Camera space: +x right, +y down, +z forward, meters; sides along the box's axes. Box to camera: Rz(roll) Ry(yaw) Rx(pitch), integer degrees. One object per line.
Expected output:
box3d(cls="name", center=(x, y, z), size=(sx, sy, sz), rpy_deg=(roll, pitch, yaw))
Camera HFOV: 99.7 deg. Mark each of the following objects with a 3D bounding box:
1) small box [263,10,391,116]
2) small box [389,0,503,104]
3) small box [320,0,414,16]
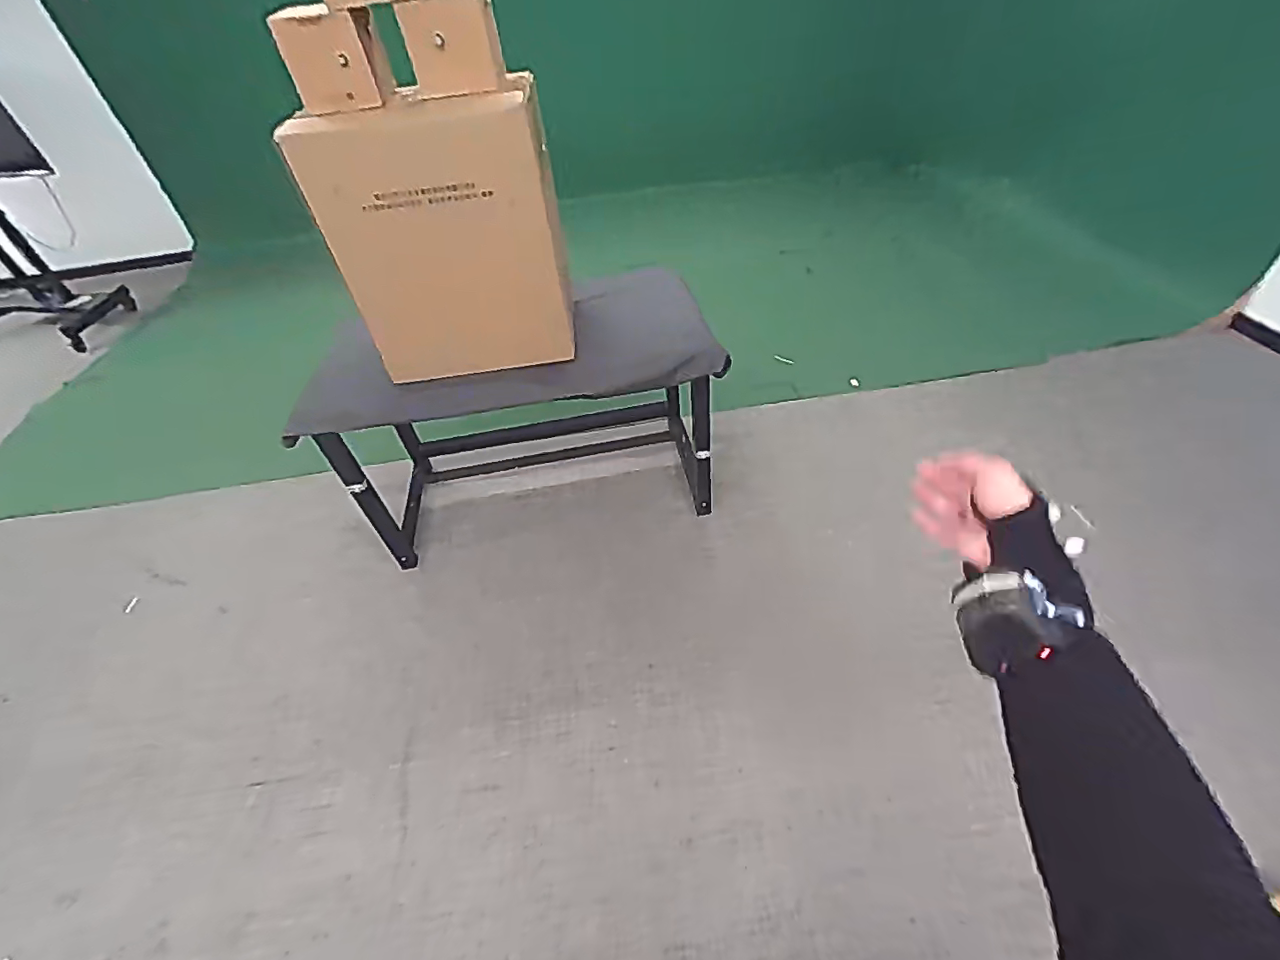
box3d(cls="small box", center=(-0.670, -0.912, 1.184), size=(0.168, 0.176, 0.179), rpy_deg=(-8, 45, -3))
box3d(cls="small box", center=(-0.416, -0.951, 1.191), size=(0.179, 0.176, 0.168), rpy_deg=(-8, 47, 0))
box3d(cls="small box", center=(-0.557, -1.045, 1.069), size=(0.179, 0.176, 0.168), rpy_deg=(-10, 46, -1))
